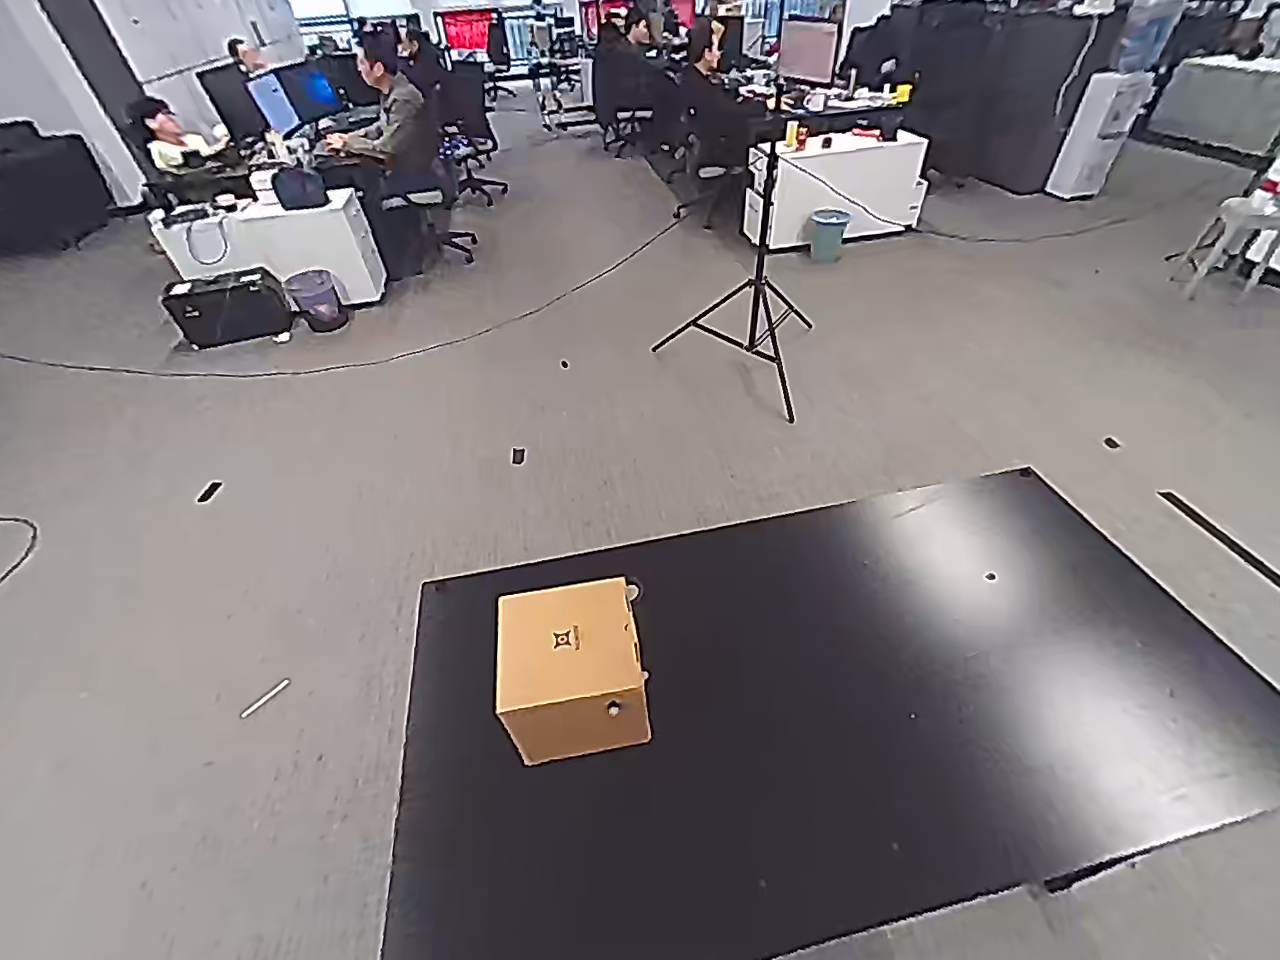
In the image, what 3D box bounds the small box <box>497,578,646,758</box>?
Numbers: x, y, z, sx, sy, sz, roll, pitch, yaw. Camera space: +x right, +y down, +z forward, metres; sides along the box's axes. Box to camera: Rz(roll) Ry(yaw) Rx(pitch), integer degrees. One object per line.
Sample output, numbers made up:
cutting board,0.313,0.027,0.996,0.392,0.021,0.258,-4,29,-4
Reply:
small box,-0.092,0.264,0.754,0.179,0.176,0.168,-8,44,-6
